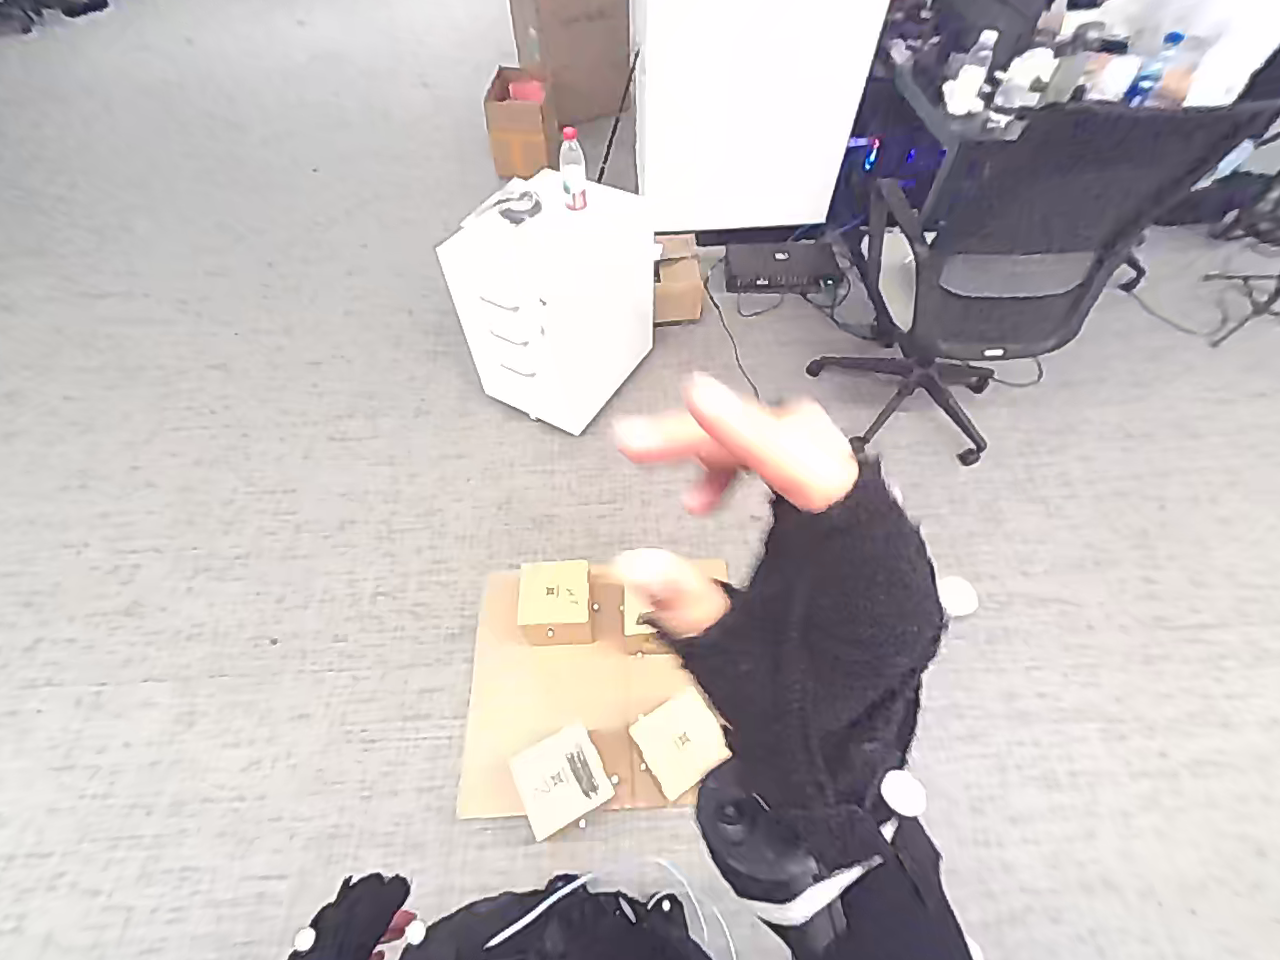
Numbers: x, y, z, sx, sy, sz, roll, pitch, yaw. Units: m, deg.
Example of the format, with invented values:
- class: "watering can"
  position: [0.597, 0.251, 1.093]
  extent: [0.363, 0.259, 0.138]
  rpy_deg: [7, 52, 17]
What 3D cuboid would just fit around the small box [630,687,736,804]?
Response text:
- class: "small box"
  position: [0.092, 0.608, 1.233]
  extent: [0.179, 0.176, 0.168]
  rpy_deg: [-29, 59, -16]
